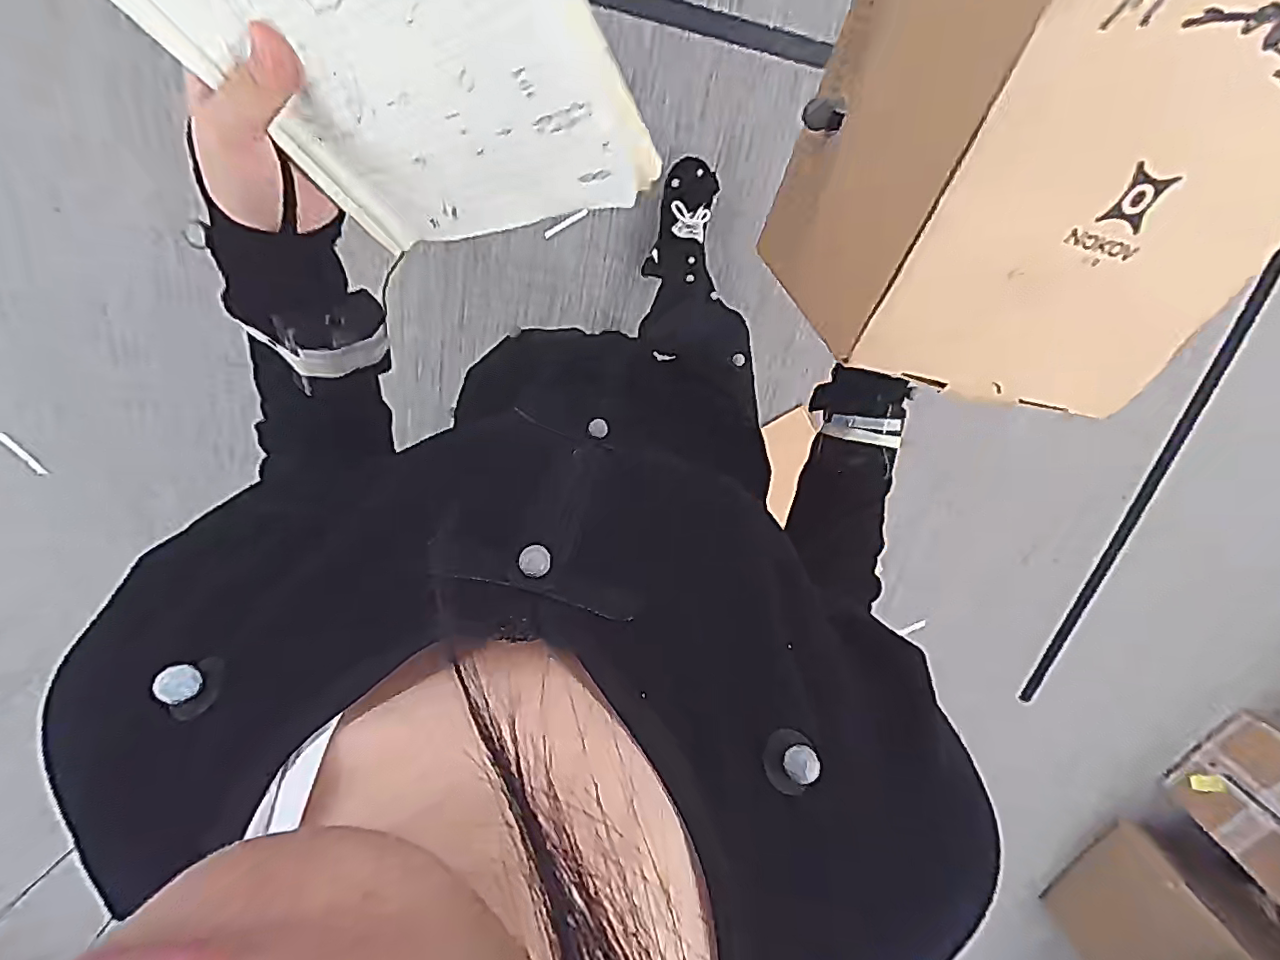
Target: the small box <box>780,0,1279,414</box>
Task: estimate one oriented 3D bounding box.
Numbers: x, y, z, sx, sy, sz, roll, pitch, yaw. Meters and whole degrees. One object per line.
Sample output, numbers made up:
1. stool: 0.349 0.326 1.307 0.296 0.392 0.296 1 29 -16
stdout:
1. small box: 0.192 -0.163 0.282 0.168 0.176 0.179 8 130 -15
